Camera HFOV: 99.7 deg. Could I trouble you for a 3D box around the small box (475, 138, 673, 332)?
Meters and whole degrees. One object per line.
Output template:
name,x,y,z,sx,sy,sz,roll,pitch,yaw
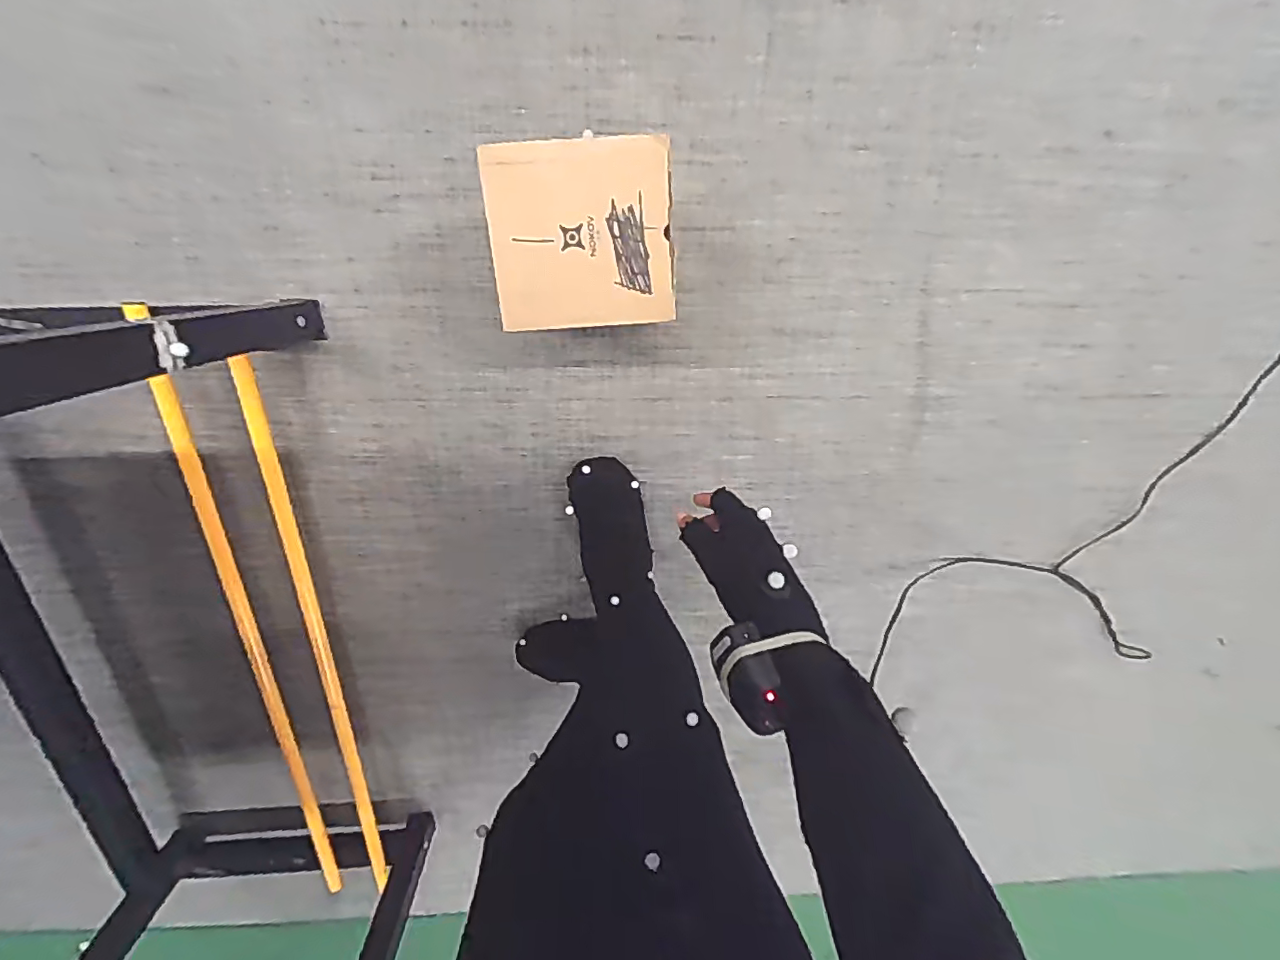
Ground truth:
small box,-0.060,-0.258,0.584,0.179,0.176,0.168,-3,113,0
